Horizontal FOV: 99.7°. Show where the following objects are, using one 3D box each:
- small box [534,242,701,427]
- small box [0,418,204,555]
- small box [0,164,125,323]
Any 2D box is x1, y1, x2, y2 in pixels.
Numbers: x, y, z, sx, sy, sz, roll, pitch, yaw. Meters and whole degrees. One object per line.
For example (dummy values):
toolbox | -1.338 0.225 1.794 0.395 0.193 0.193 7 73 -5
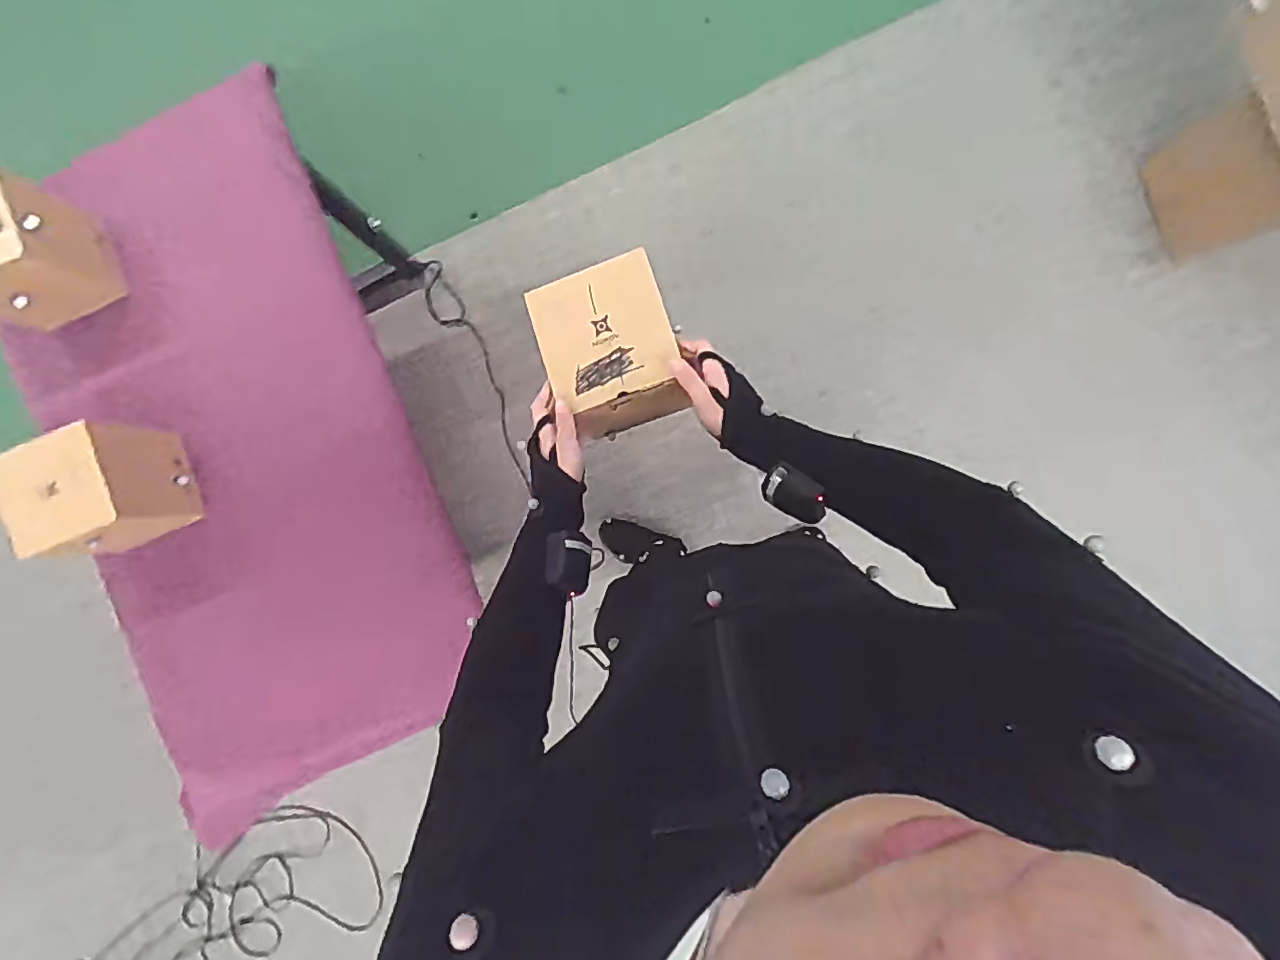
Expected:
small box | -0.020 -0.180 0.739 0.168 0.176 0.179 -18 82 8
small box | -0.890 0.013 0.898 0.179 0.176 0.168 -21 88 2
small box | -1.053 -0.392 0.919 0.179 0.176 0.168 -23 88 3
